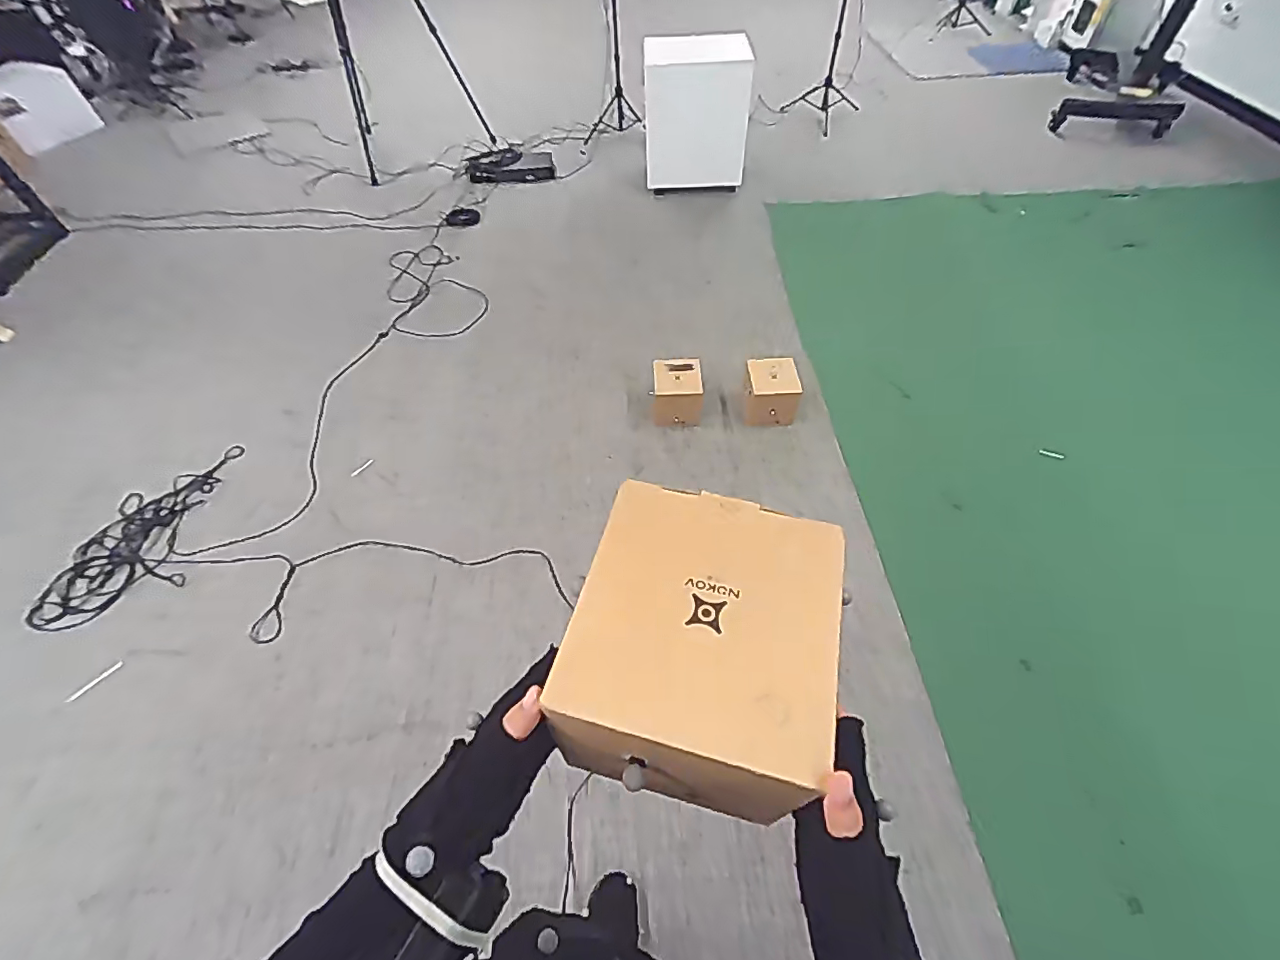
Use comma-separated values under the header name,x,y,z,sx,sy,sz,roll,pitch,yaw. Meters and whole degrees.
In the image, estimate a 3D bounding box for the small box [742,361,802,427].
name,x,y,z,sx,sy,sz,roll,pitch,yaw
small box,0.465,-0.301,1.927,0.168,0.176,0.179,-2,53,0

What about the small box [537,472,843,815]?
name,x,y,z,sx,sy,sz,roll,pitch,yaw
small box,0.042,0.125,0.405,0.168,0.176,0.179,13,52,9
